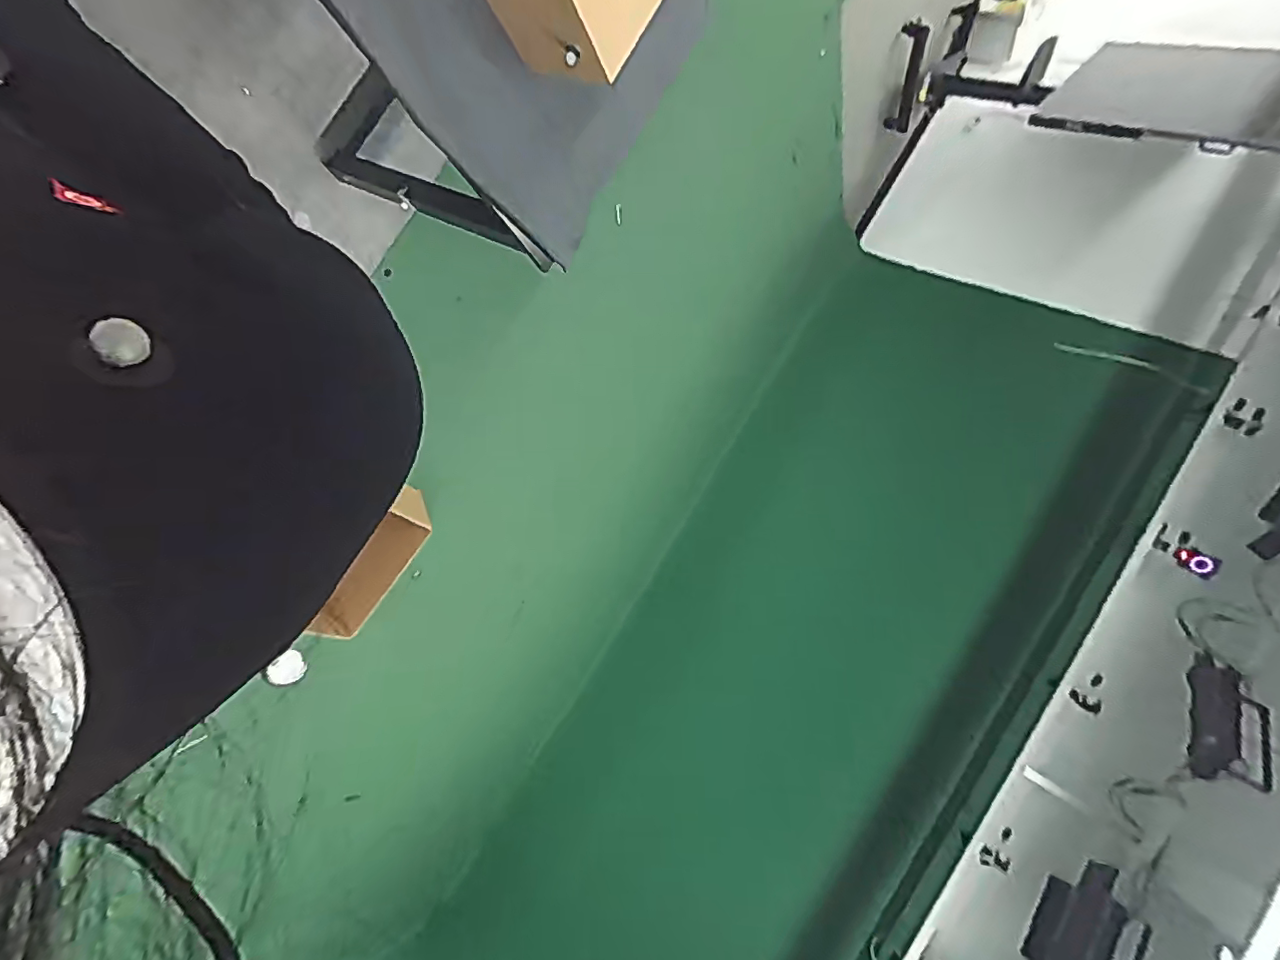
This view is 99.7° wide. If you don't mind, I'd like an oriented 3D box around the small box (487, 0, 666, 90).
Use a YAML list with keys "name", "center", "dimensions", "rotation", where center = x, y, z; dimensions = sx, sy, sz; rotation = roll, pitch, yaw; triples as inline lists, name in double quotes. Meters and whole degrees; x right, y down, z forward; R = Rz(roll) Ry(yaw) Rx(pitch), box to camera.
- name: "small box"
  center: [-0.094, -0.668, 0.712]
  dimensions: [0.168, 0.176, 0.179]
  rotation: [-60, 154, -2]
